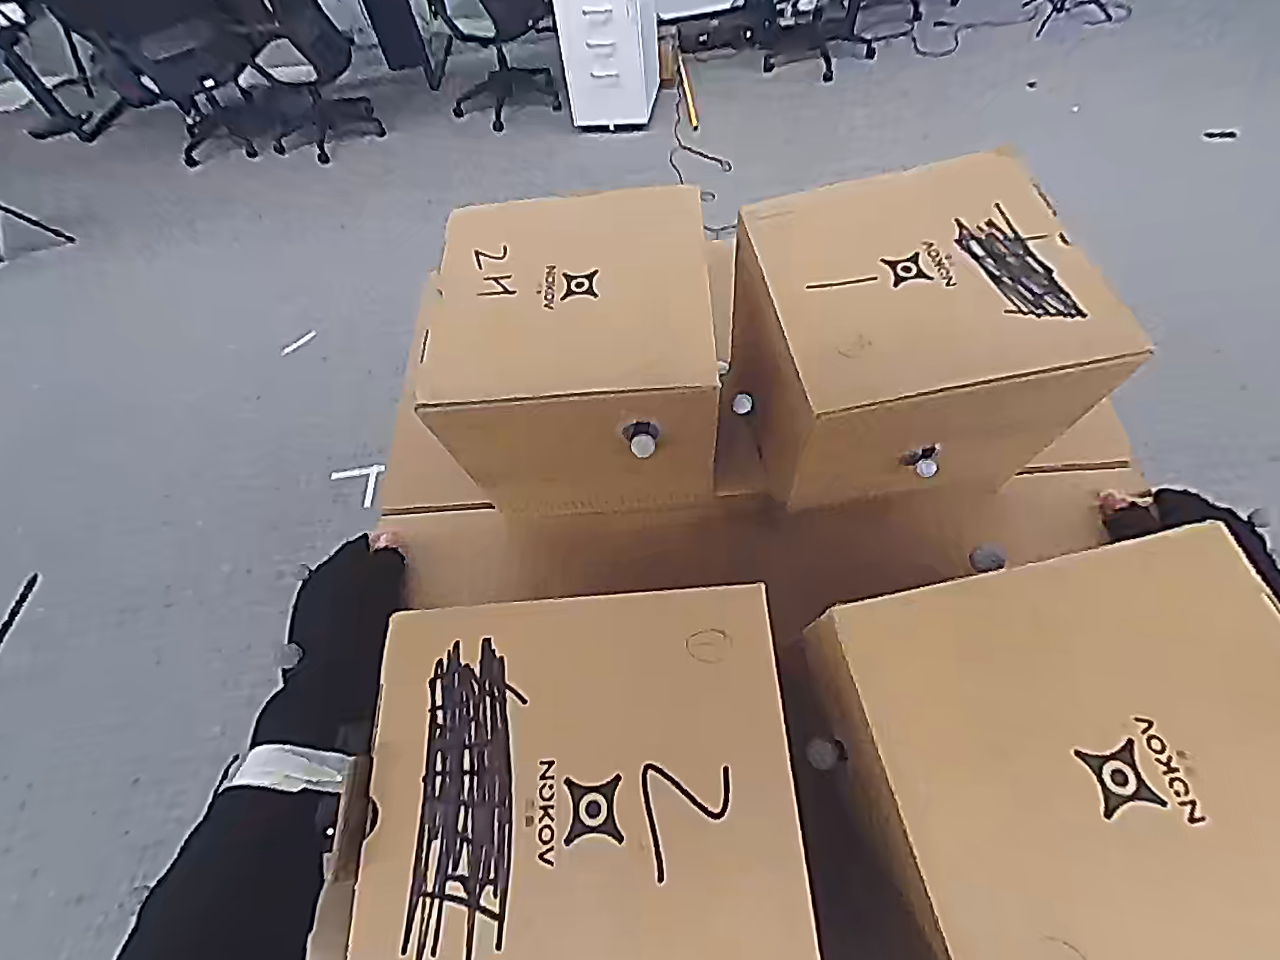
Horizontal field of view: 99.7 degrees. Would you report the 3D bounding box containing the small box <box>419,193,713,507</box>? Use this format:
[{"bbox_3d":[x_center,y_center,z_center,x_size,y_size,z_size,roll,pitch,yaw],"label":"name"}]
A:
[{"bbox_3d":[-0.037,-0.086,0.419,0.179,0.176,0.168,-3,63,6],"label":"small box"}]
